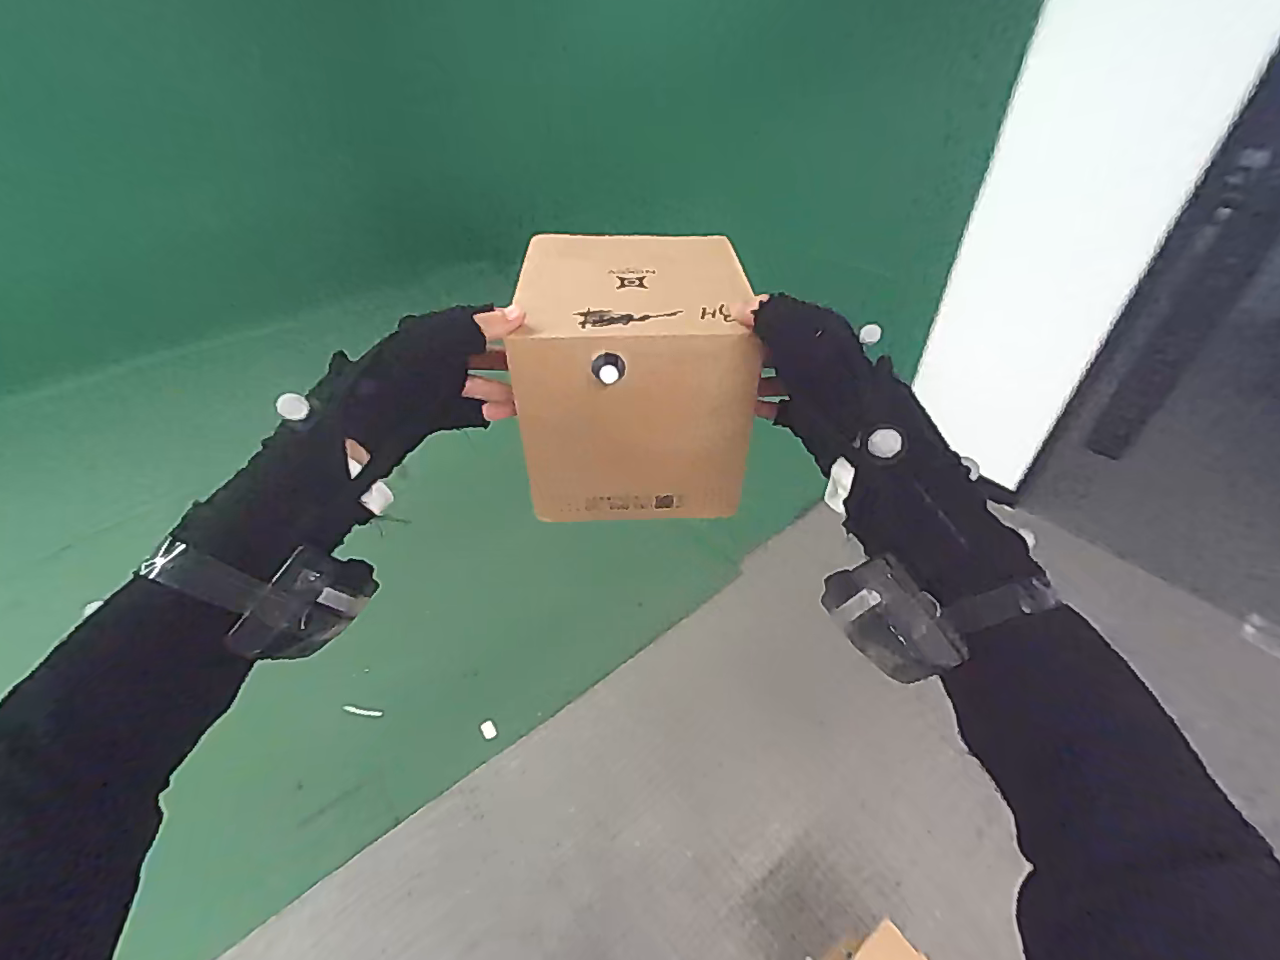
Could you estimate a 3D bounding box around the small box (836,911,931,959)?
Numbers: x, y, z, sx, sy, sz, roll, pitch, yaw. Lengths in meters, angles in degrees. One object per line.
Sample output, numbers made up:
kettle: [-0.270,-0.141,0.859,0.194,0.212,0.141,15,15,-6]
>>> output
small box: [0.394,0.852,0.870,0.179,0.176,0.168,-29,47,-24]

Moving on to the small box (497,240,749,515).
small box: [-0.012,-0.090,0.459,0.168,0.176,0.179,-2,42,-1]
